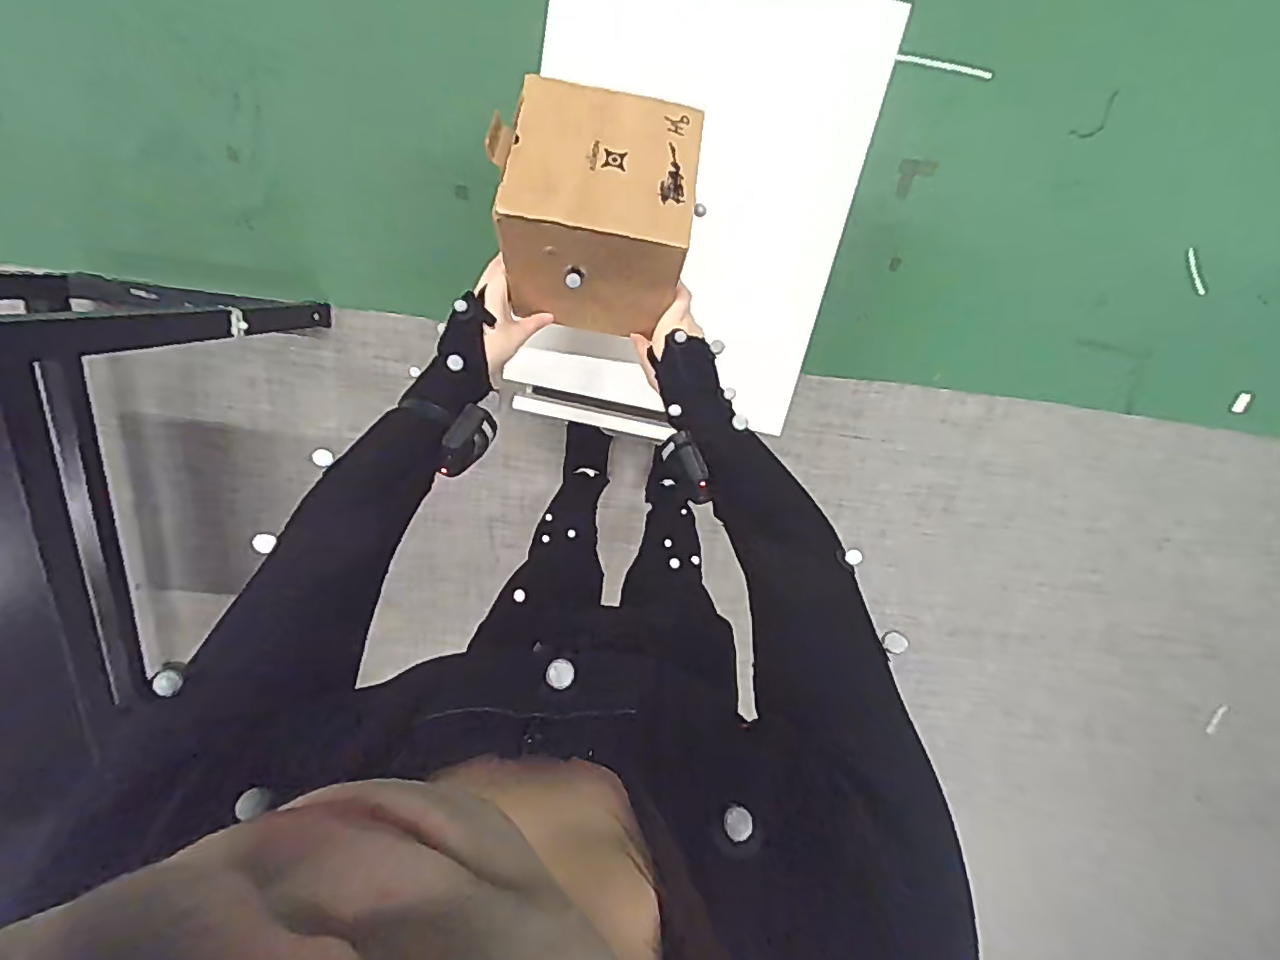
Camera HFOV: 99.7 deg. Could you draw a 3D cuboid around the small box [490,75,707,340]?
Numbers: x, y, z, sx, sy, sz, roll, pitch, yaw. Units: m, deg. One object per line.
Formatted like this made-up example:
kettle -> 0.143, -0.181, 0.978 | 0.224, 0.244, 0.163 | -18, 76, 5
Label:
small box -> -0.040, -0.266, 0.561 | 0.179, 0.176, 0.168 | 9, 74, -4
